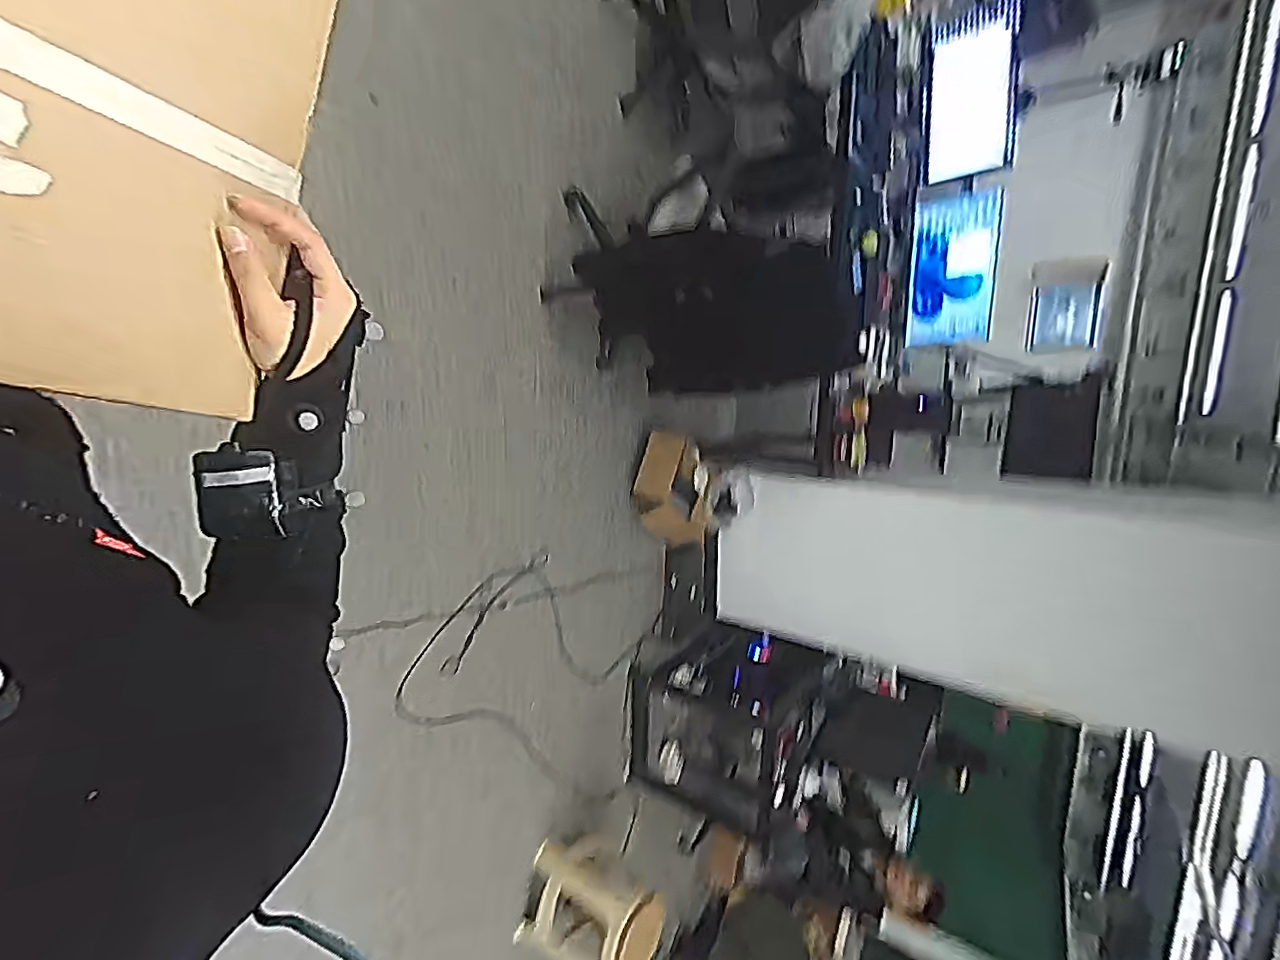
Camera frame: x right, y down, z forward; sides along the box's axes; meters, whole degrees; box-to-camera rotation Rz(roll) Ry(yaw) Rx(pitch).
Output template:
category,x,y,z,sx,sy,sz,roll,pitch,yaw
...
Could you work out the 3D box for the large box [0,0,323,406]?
category,x,y,z,sx,sy,sz,roll,pitch,yaw
large box,-0.466,-0.239,0.288,0.408,0.320,0.320,6,98,-55
